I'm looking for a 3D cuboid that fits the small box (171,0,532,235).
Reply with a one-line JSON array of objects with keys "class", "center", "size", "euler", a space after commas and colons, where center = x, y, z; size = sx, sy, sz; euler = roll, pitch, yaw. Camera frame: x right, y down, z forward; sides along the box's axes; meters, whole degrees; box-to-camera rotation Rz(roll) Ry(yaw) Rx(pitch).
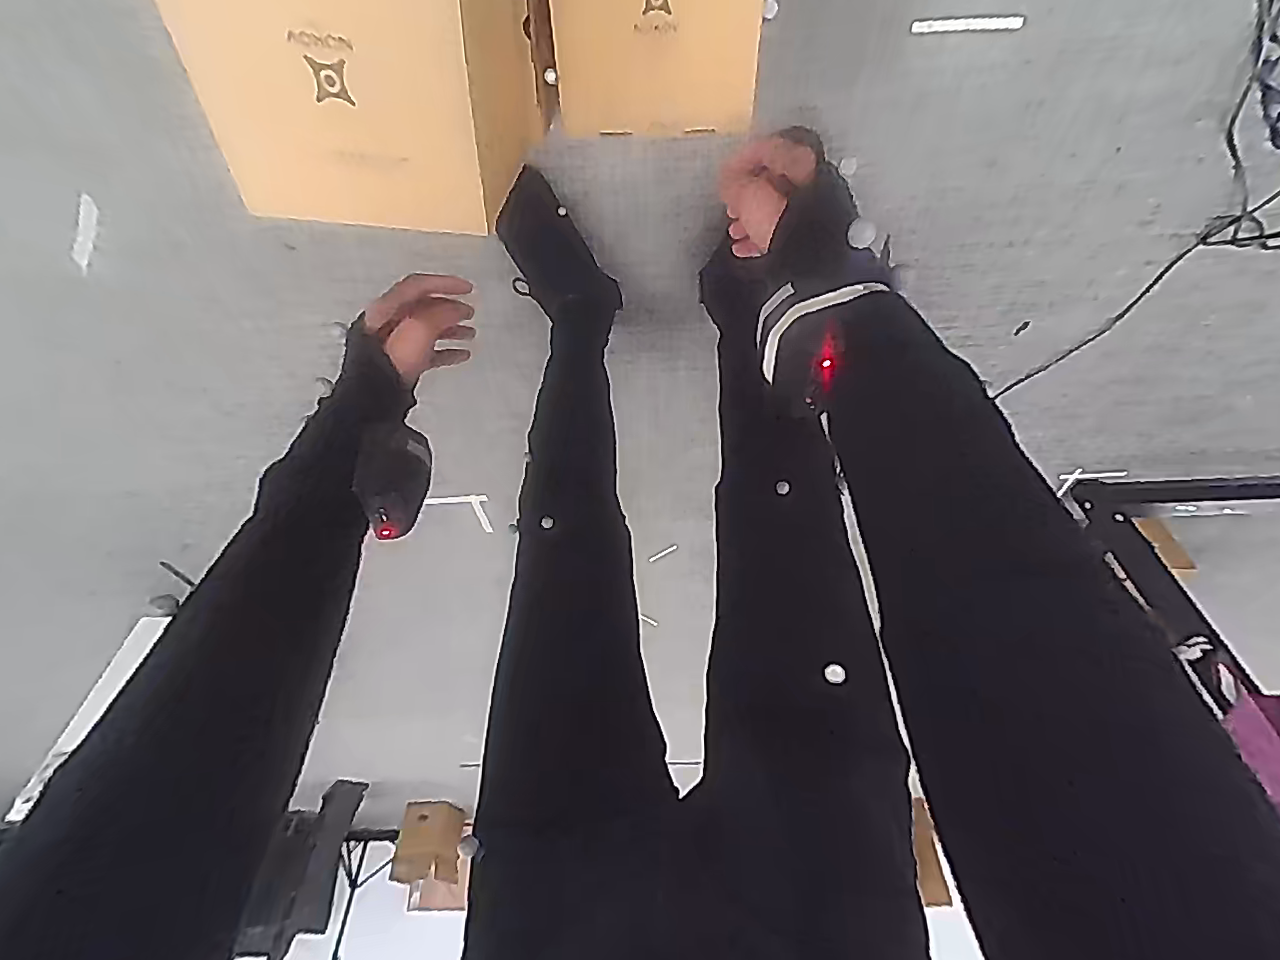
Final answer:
[{"class": "small box", "center": [-0.169, -0.294, 0.362], "size": [0.168, 0.176, 0.179], "euler": [5, 138, -3]}]
